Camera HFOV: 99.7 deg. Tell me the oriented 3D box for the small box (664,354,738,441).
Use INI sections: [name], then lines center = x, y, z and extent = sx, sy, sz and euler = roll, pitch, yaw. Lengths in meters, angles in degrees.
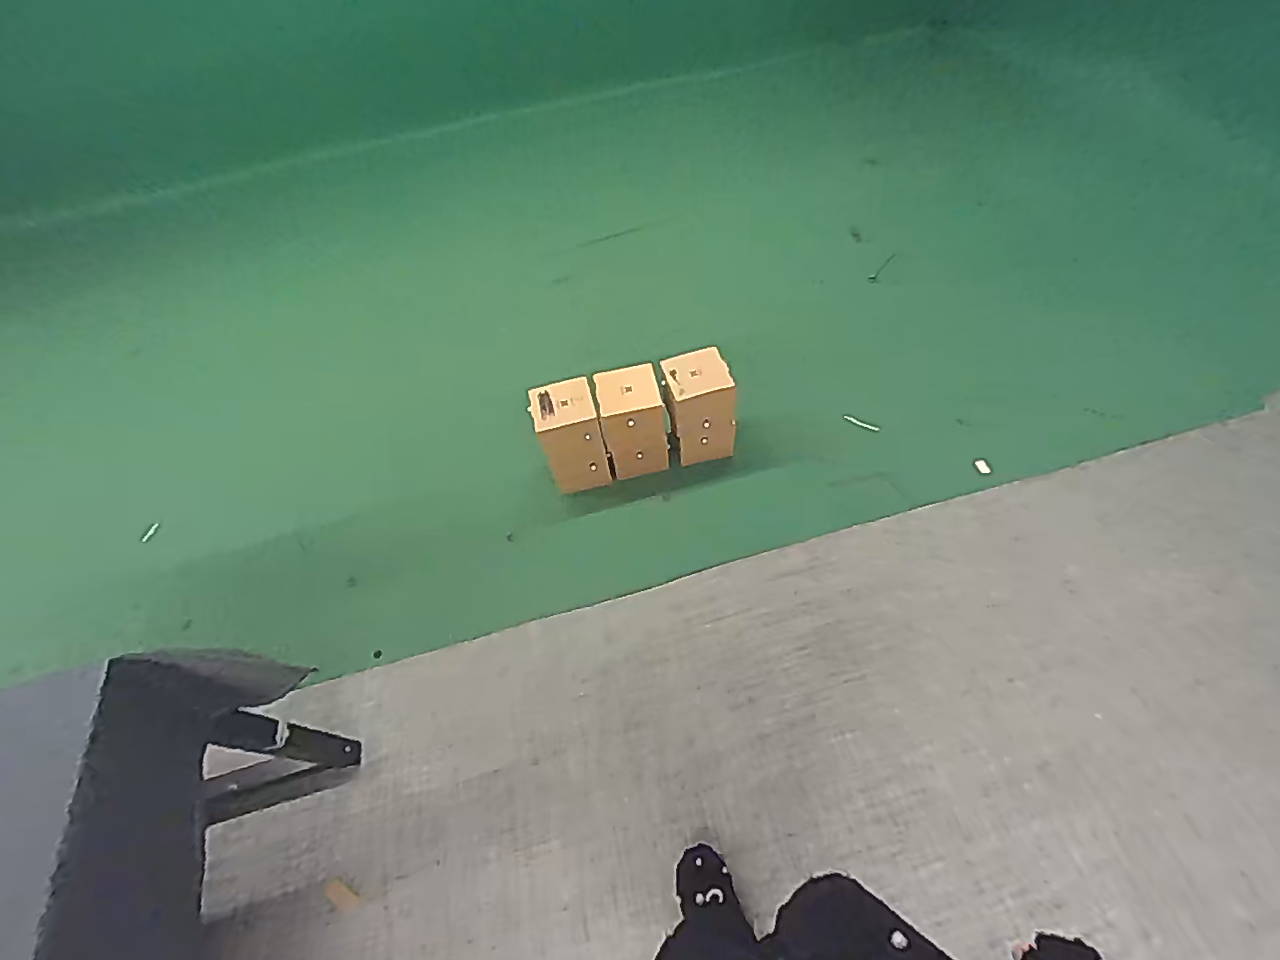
[small box]
center = 0.175, -0.242, 1.607
extent = 0.179, 0.176, 0.168
euler = -15, 56, -5
